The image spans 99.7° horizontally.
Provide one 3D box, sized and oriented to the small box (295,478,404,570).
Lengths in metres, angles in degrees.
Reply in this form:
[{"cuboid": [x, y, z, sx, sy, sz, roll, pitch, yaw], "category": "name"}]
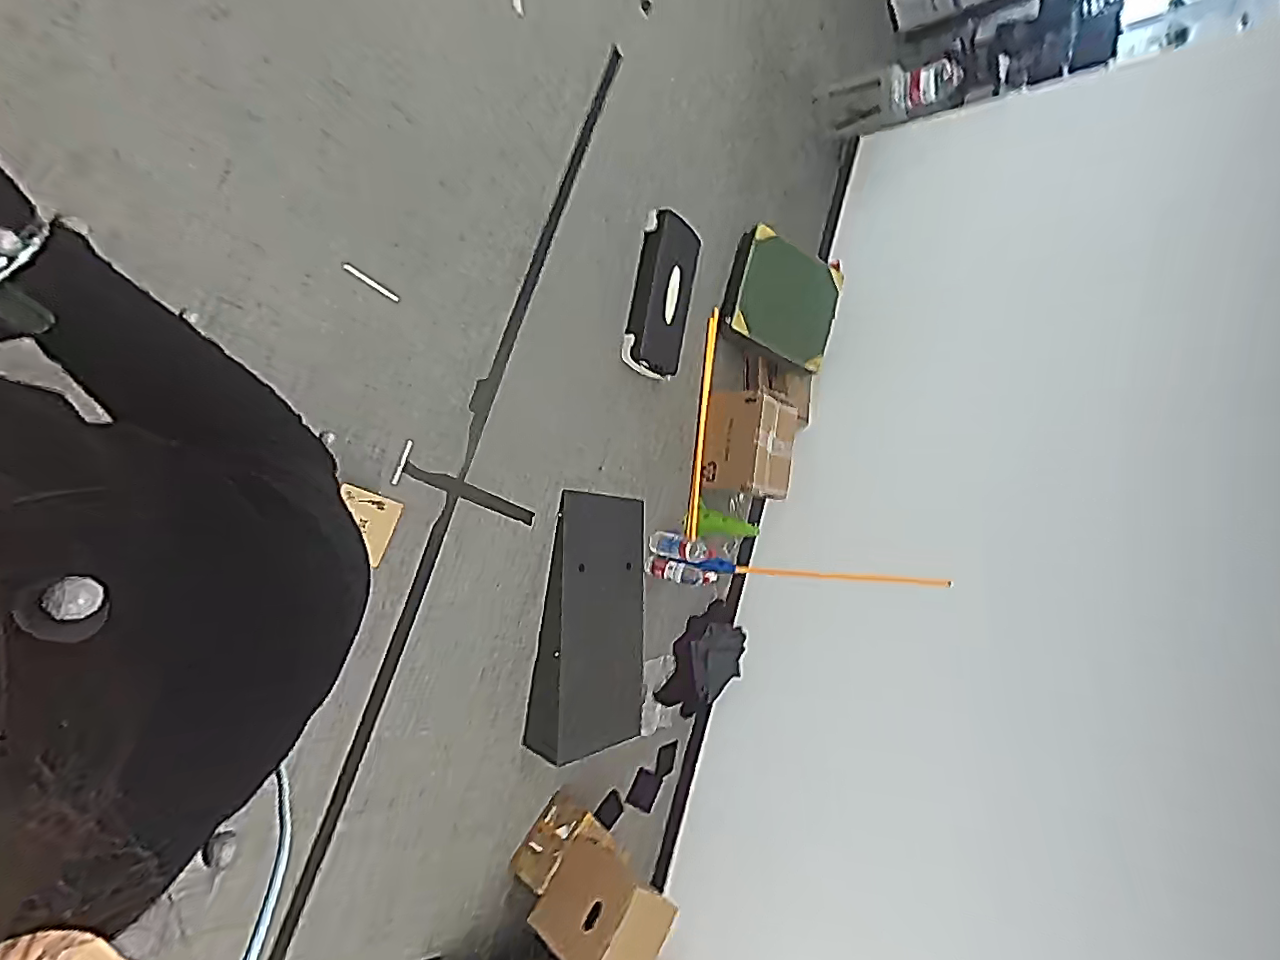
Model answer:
[{"cuboid": [-0.748, 0.111, 1.382, 0.168, 0.176, 0.179, 33, 72, -48], "category": "small box"}]
